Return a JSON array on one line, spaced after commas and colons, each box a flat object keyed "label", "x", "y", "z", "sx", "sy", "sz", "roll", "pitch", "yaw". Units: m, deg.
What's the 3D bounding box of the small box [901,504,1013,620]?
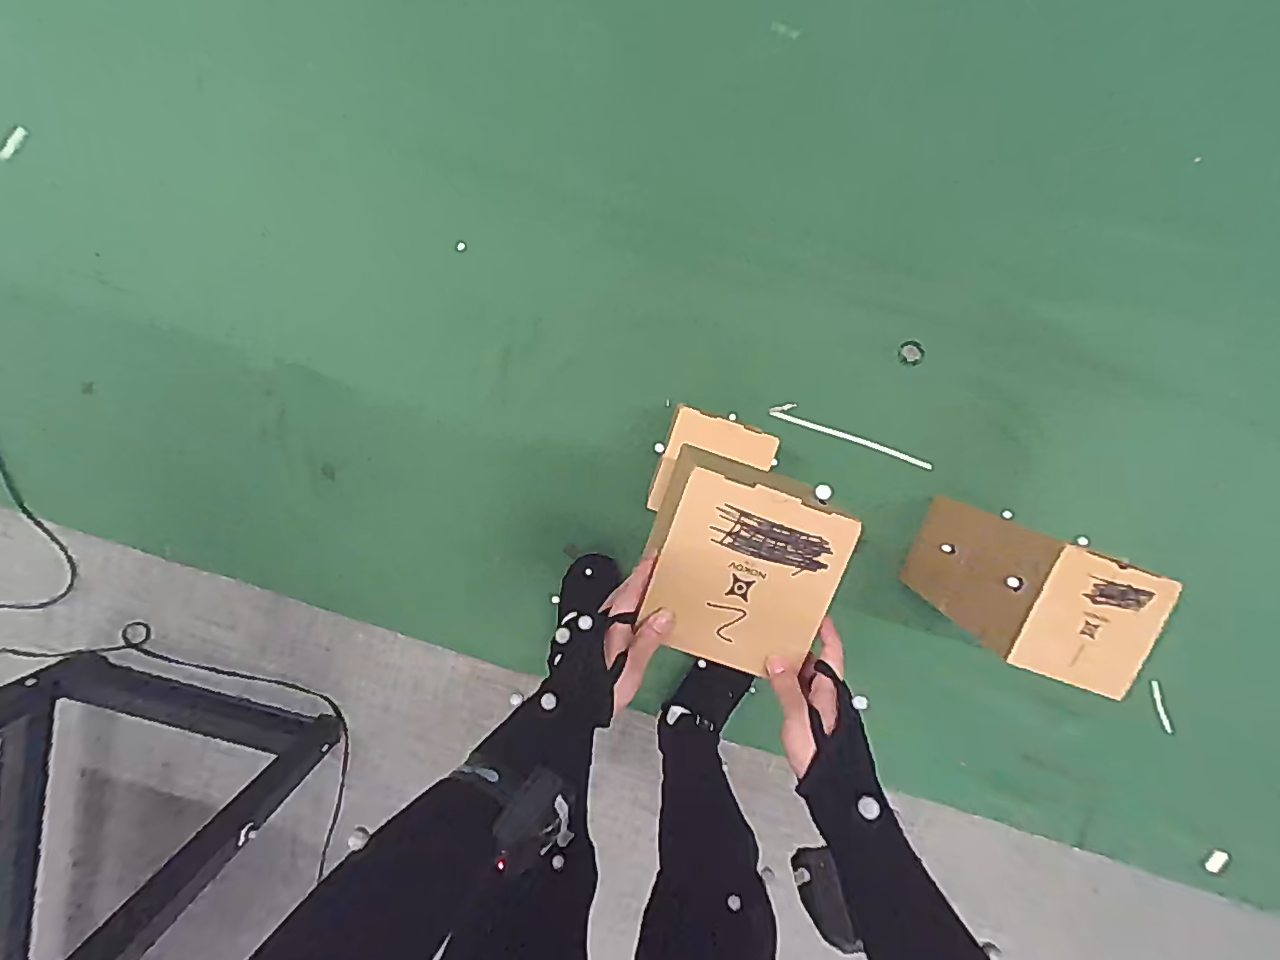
[{"label": "small box", "x": 0.593, "y": 0.157, "z": 0.946, "sx": 0.168, "sy": 0.176, "sz": 0.179, "roll": 20, "pitch": 99, "yaw": -1}]

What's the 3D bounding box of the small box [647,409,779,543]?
[{"label": "small box", "x": 0.120, "y": -0.015, "z": 0.938, "sx": 0.168, "sy": 0.176, "sz": 0.179, "roll": 19, "pitch": 98, "yaw": -1}]

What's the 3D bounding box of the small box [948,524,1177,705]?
[{"label": "small box", "x": 0.589, "y": 0.181, "z": 0.783, "sx": 0.168, "sy": 0.176, "sz": 0.179, "roll": 20, "pitch": 99, "yaw": -1}]
